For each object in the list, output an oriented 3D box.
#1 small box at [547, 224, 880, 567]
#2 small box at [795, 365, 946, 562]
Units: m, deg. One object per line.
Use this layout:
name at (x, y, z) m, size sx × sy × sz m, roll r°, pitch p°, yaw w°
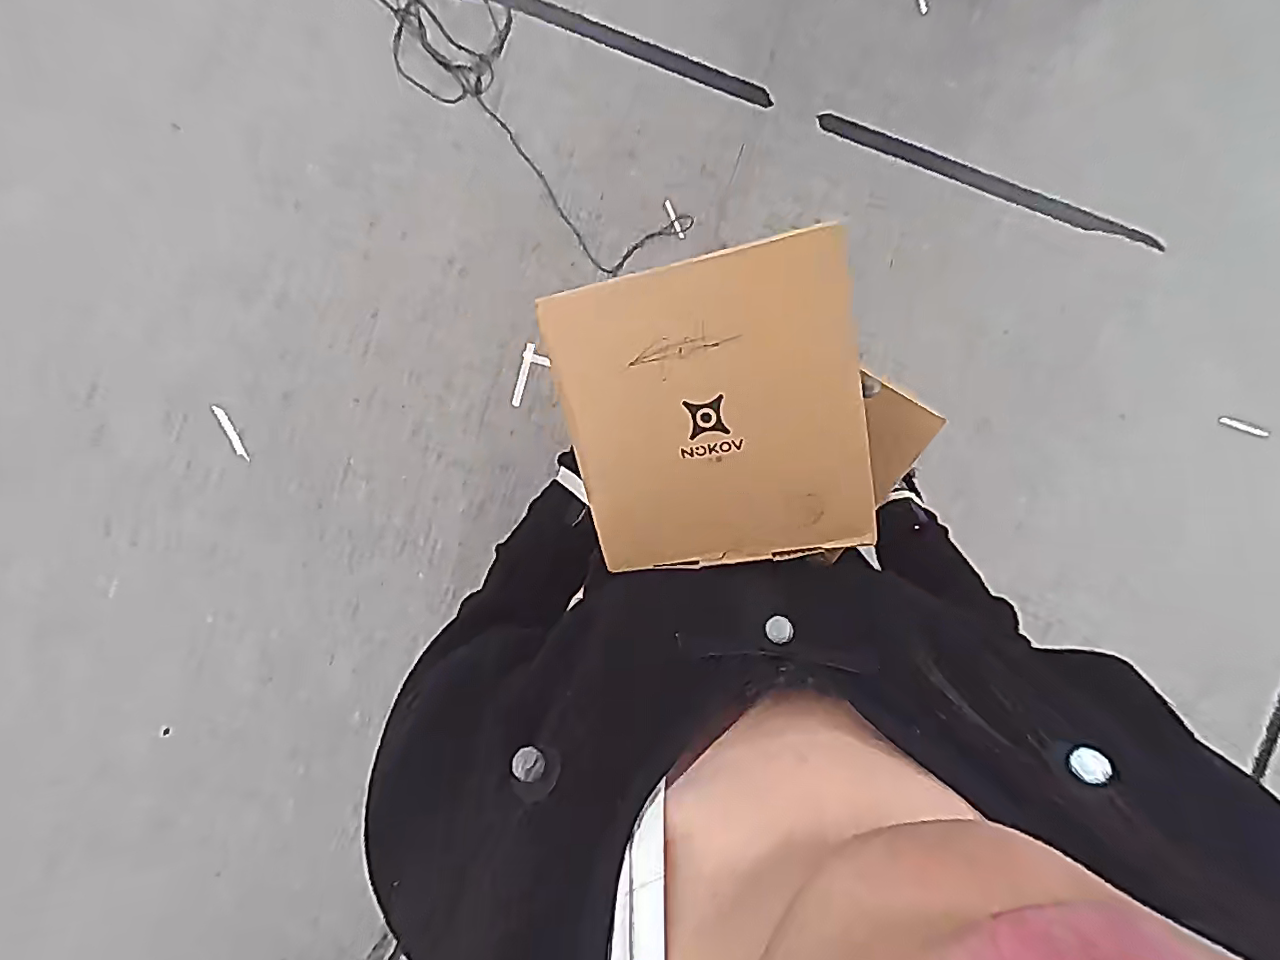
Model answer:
small box at (0.059, -0.062, 0.381) m, size 0.168 × 0.176 × 0.179 m, roll -10°, pitch 107°, yaw 14°
small box at (0.152, -0.056, 0.541) m, size 0.179 × 0.176 × 0.168 m, roll 31°, pitch 113°, yaw 0°
